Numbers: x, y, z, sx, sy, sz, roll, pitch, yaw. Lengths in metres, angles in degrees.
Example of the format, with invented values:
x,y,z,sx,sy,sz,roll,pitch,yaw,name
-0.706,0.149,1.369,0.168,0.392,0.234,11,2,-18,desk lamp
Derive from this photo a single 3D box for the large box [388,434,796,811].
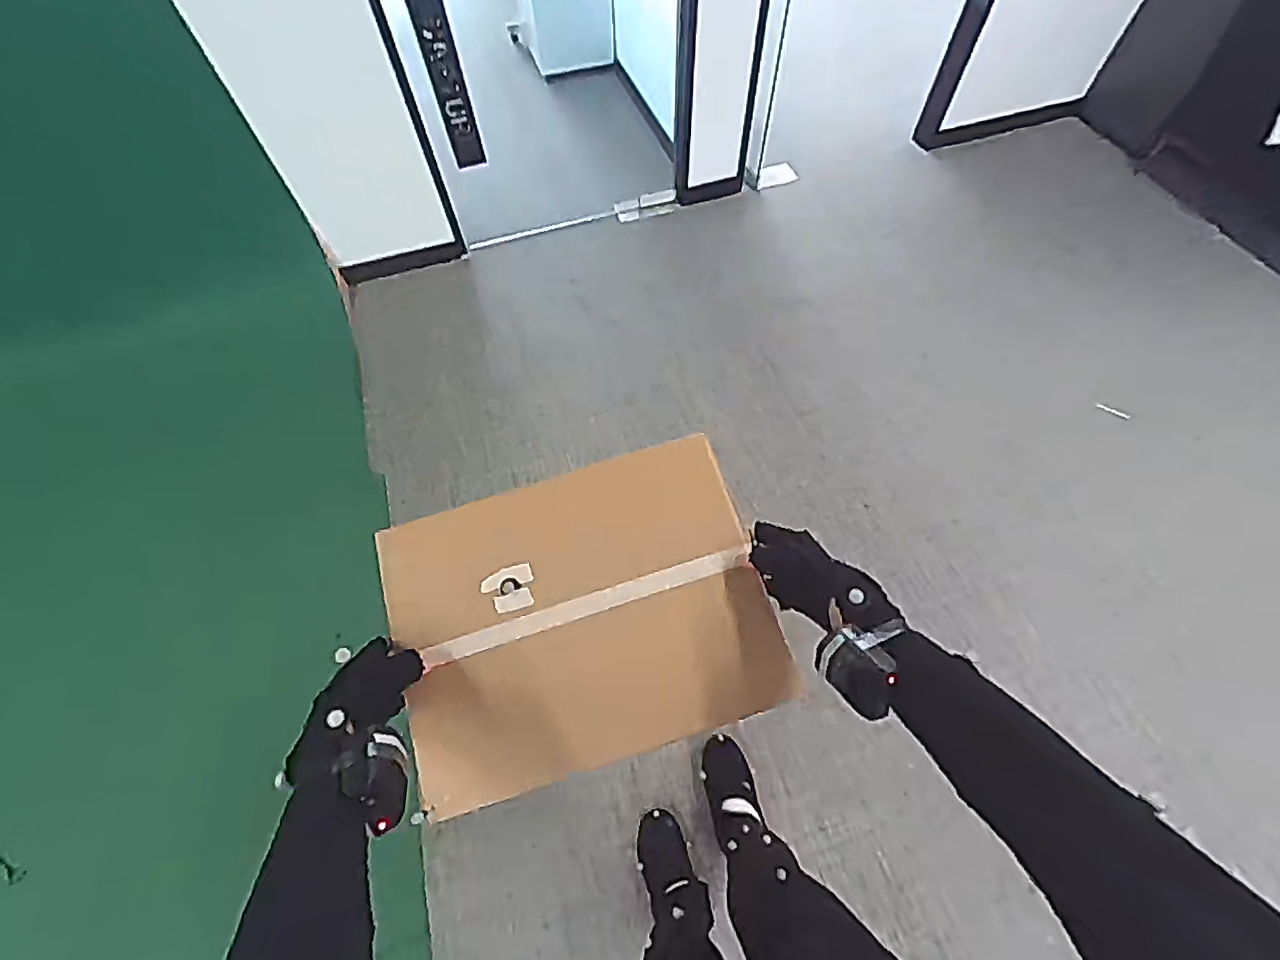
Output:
x,y,z,sx,sy,sz,roll,pitch,yaw,name
-0.058,0.181,0.749,0.408,0.320,0.320,-17,73,-3,large box
